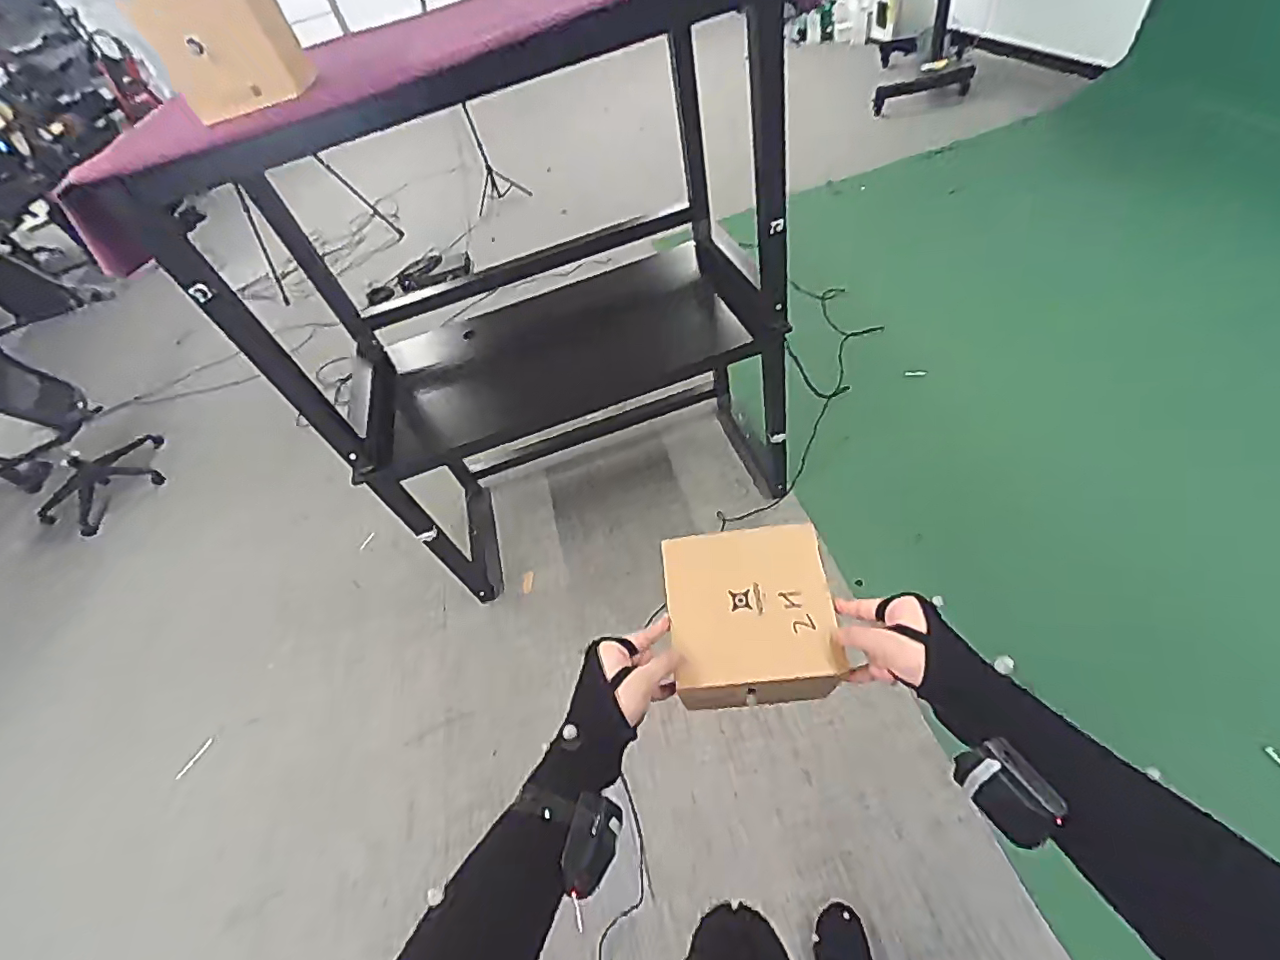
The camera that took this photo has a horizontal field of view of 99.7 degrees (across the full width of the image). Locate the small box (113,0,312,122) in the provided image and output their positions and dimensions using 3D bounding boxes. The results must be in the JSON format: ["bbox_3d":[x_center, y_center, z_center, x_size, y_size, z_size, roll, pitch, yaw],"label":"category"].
[{"bbox_3d":[-0.663,-0.704,0.868,0.168,0.176,0.179,-20,47,-1],"label":"small box"}]

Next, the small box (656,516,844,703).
[{"bbox_3d":[0.120,0.160,0.637,0.179,0.176,0.168,-7,60,5],"label":"small box"}]
